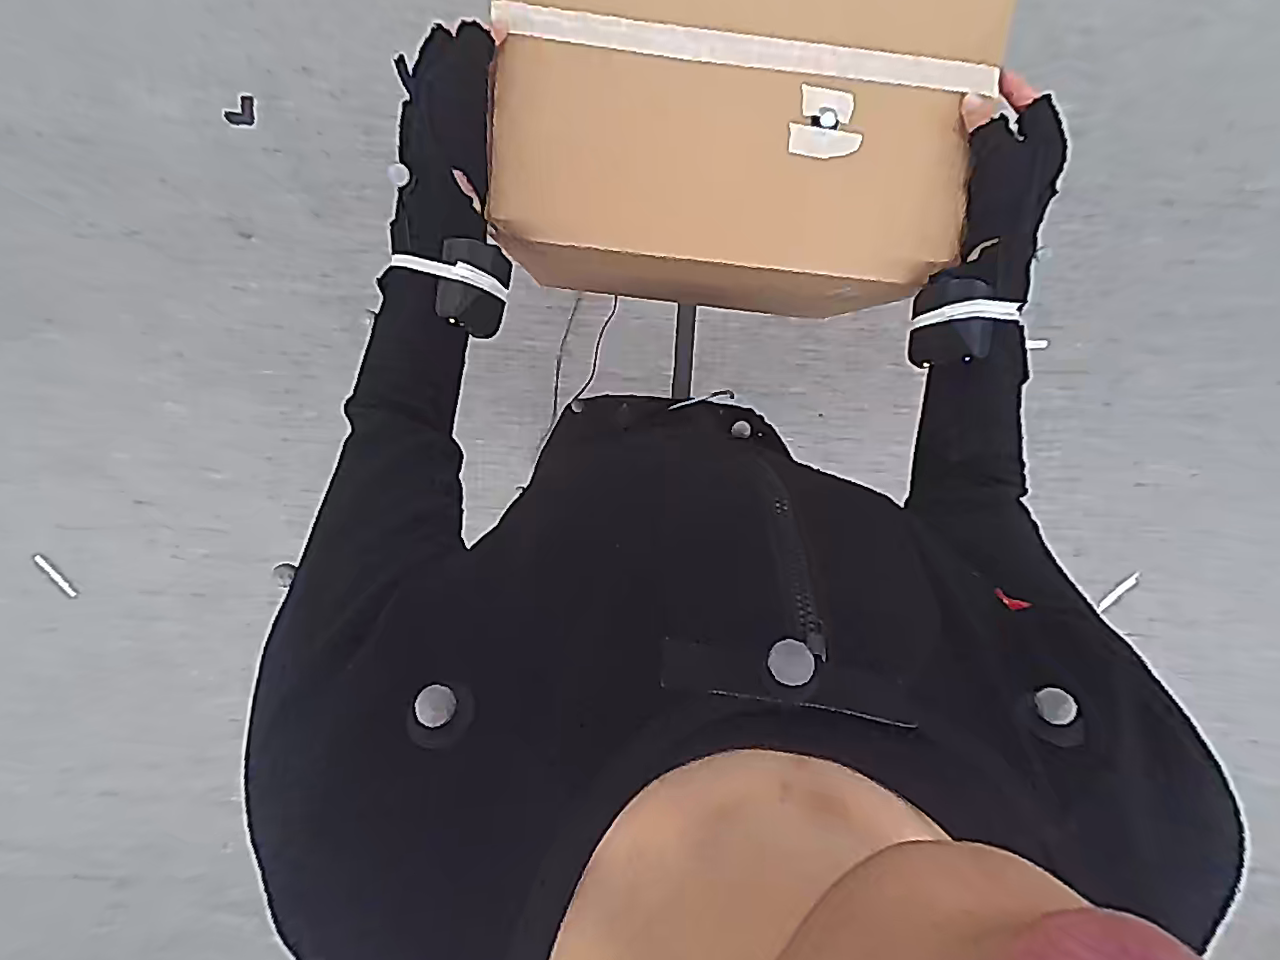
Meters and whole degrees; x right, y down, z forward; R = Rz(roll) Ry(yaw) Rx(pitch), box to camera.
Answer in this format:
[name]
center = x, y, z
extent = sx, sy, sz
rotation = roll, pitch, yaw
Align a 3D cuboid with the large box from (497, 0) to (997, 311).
[large box]
center = 0.079, -0.373, 0.588
extent = 0.408, 0.320, 0.320
rotation = 5, 103, -4
